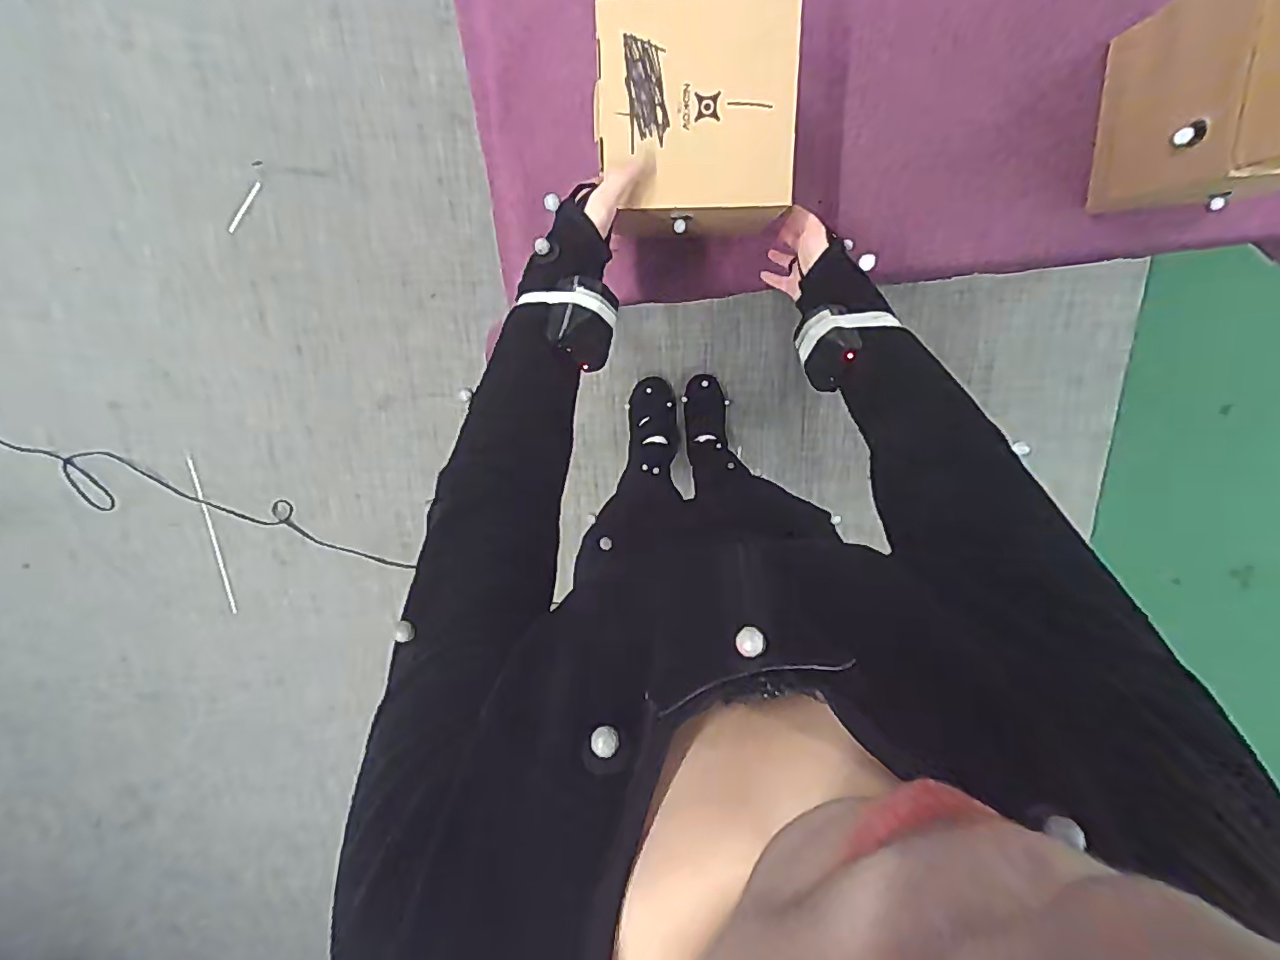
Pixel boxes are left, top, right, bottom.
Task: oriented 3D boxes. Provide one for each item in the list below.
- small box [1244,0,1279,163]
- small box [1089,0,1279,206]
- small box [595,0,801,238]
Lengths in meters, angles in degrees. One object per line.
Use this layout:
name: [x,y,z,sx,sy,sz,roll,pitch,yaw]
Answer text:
small box: [0.600,-0.344,0.375,0.168,0.176,0.179,-4,107,2]
small box: [0.597,-0.382,0.534,0.168,0.176,0.179,-4,106,2]
small box: [0.051,-0.348,0.552,0.179,0.176,0.168,-1,106,0]
